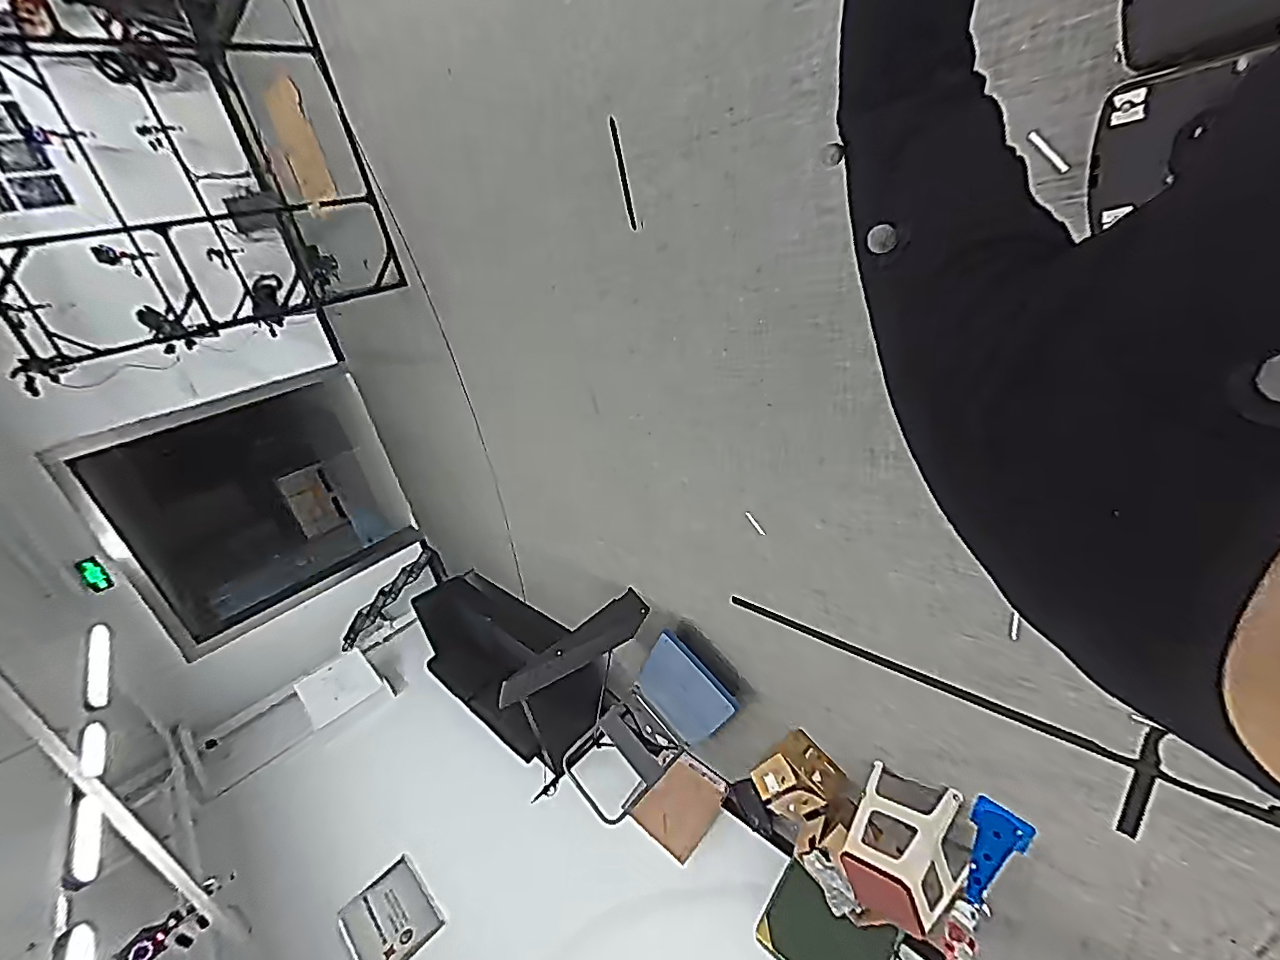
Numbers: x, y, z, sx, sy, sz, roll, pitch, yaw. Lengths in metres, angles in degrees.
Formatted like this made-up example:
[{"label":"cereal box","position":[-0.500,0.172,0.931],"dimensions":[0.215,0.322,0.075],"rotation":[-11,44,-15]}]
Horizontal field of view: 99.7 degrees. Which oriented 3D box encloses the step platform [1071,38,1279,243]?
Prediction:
[{"label":"step platform","position":[1.156,-0.600,0.901],"dimensions":[0.684,0.204,0.286],"rotation":[13,125,47]}]
